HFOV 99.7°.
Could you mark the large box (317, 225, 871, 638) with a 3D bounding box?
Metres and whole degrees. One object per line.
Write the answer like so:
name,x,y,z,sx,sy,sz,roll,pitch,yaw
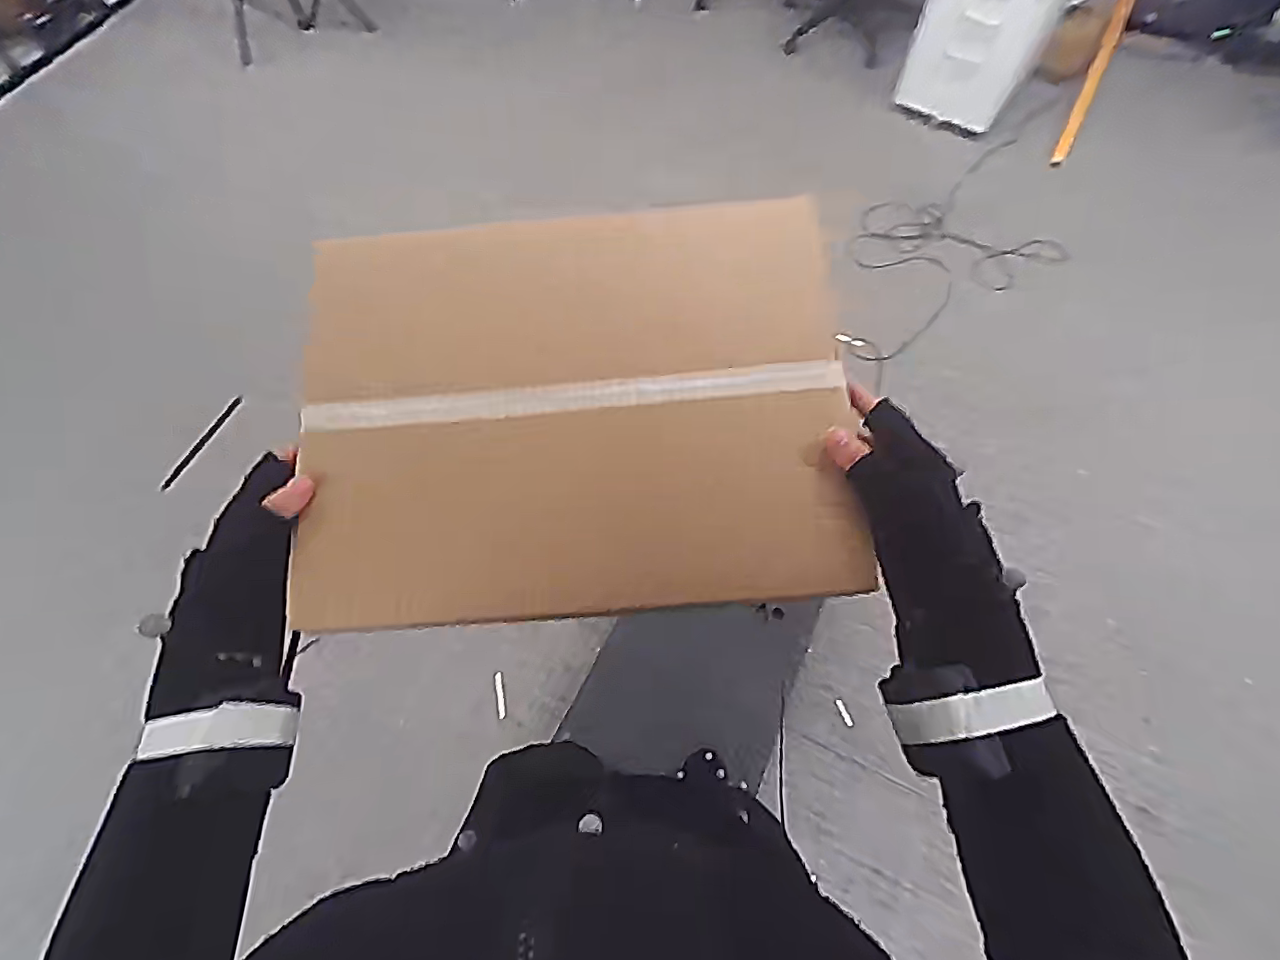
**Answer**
large box,-0.037,-0.016,0.561,0.408,0.320,0.320,-3,76,1
